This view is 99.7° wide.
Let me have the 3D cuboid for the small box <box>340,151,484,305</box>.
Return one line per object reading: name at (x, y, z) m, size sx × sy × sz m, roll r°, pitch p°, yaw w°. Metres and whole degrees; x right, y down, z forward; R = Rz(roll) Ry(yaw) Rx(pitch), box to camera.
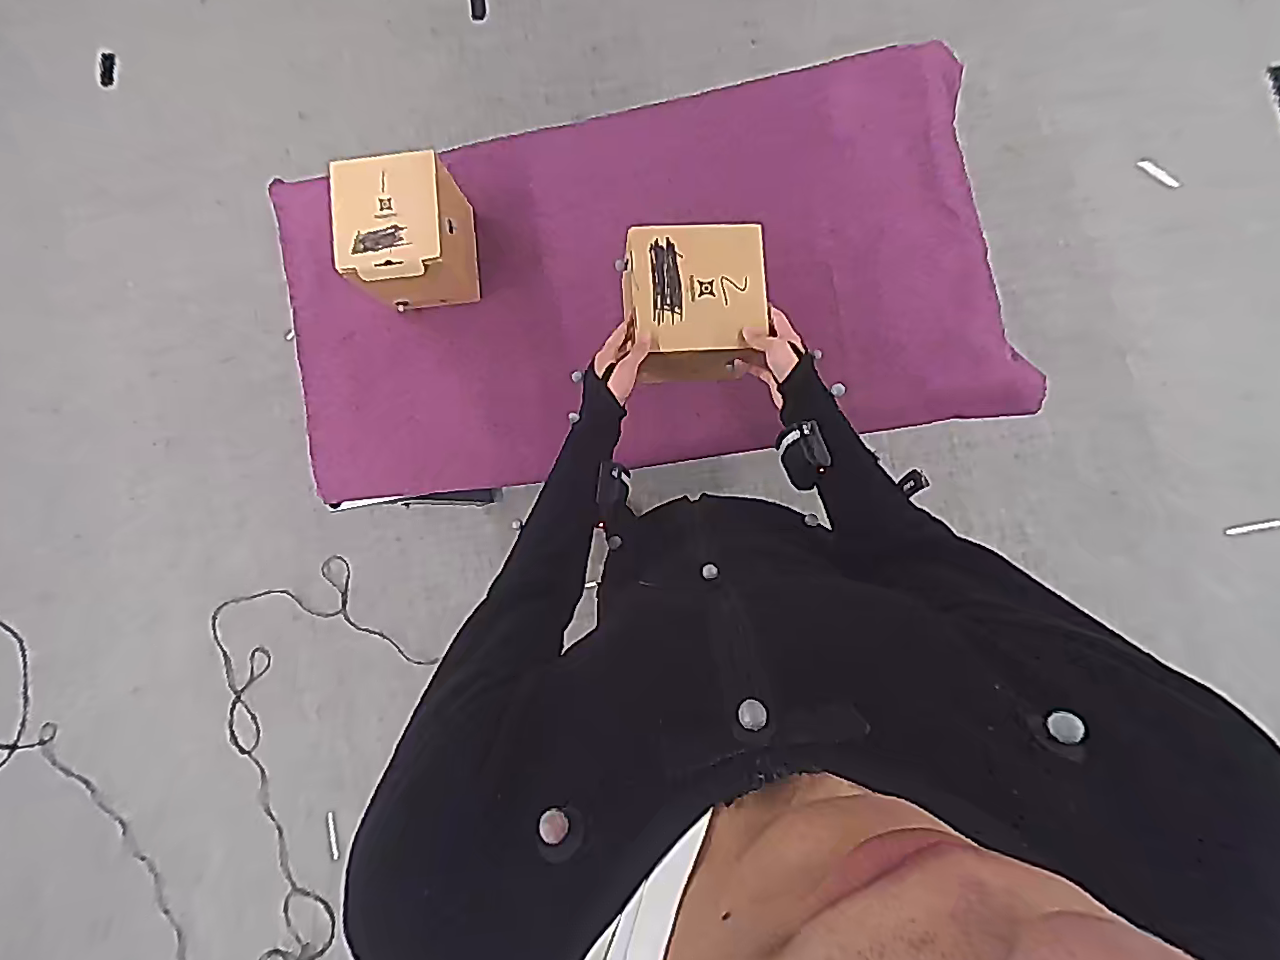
small box at (-0.368, -0.405, 0.900) m, size 0.168 × 0.176 × 0.179 m, roll -5°, pitch 86°, yaw 3°
